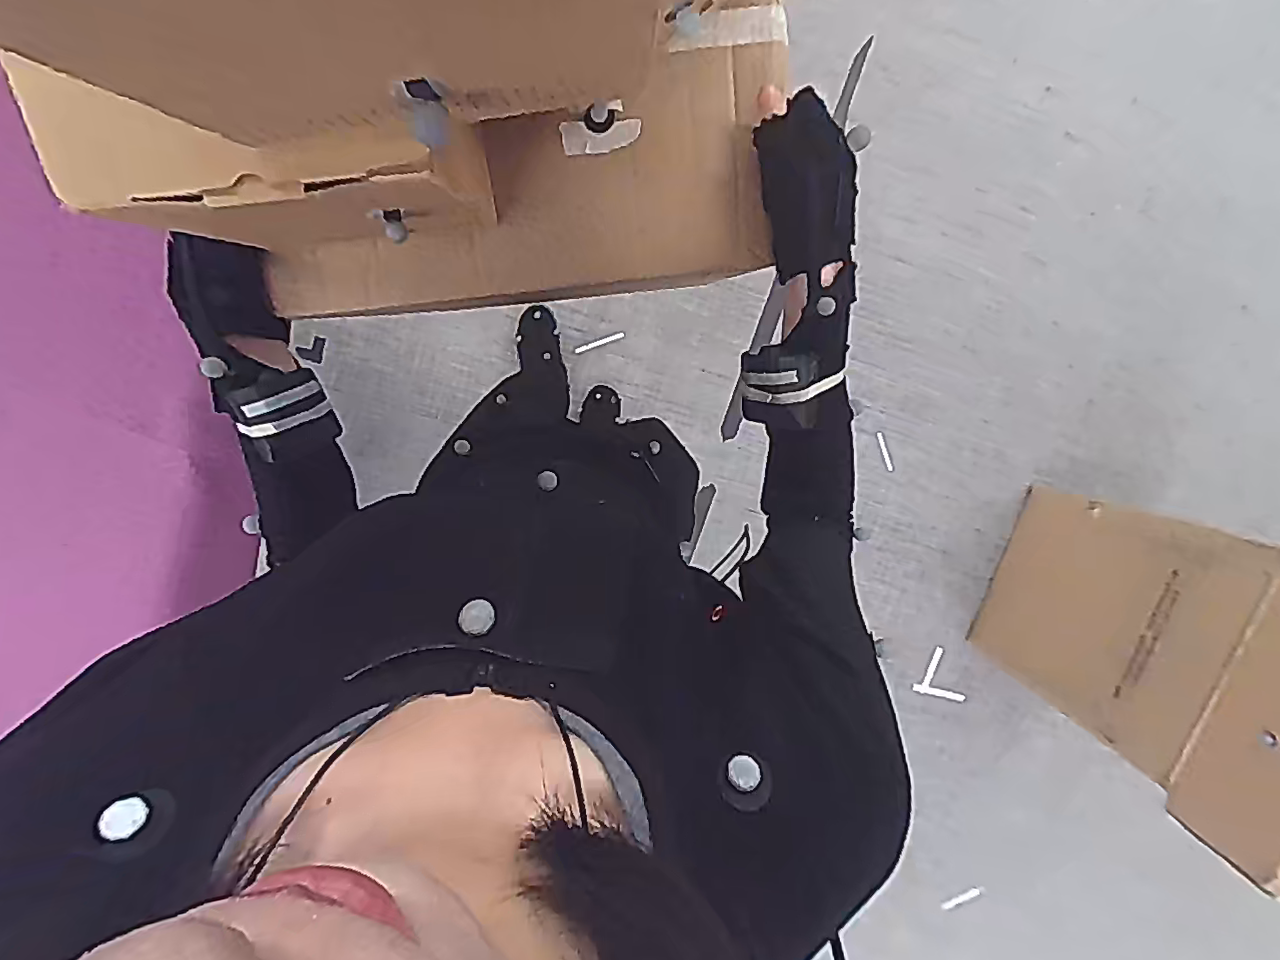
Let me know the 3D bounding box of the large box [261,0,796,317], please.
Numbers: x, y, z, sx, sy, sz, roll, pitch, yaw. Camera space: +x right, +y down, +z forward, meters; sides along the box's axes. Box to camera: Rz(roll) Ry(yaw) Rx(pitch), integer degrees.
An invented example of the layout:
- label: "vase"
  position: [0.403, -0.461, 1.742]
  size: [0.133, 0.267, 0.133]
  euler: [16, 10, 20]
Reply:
- label: "large box"
  position: [-0.103, -0.341, 0.513]
  size: [0.408, 0.320, 0.320]
  euler: [-7, 109, -2]

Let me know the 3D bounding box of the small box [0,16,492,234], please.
- label: "small box"
  position: [-0.185, -0.237, 0.286]
  size: [0.168, 0.176, 0.179]
  euler: [-7, 107, -3]

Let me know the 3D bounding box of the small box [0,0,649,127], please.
- label: "small box"
  position: [-0.086, -0.208, 0.127]
  size: [0.179, 0.176, 0.168]
  euler: [-8, 108, 0]
